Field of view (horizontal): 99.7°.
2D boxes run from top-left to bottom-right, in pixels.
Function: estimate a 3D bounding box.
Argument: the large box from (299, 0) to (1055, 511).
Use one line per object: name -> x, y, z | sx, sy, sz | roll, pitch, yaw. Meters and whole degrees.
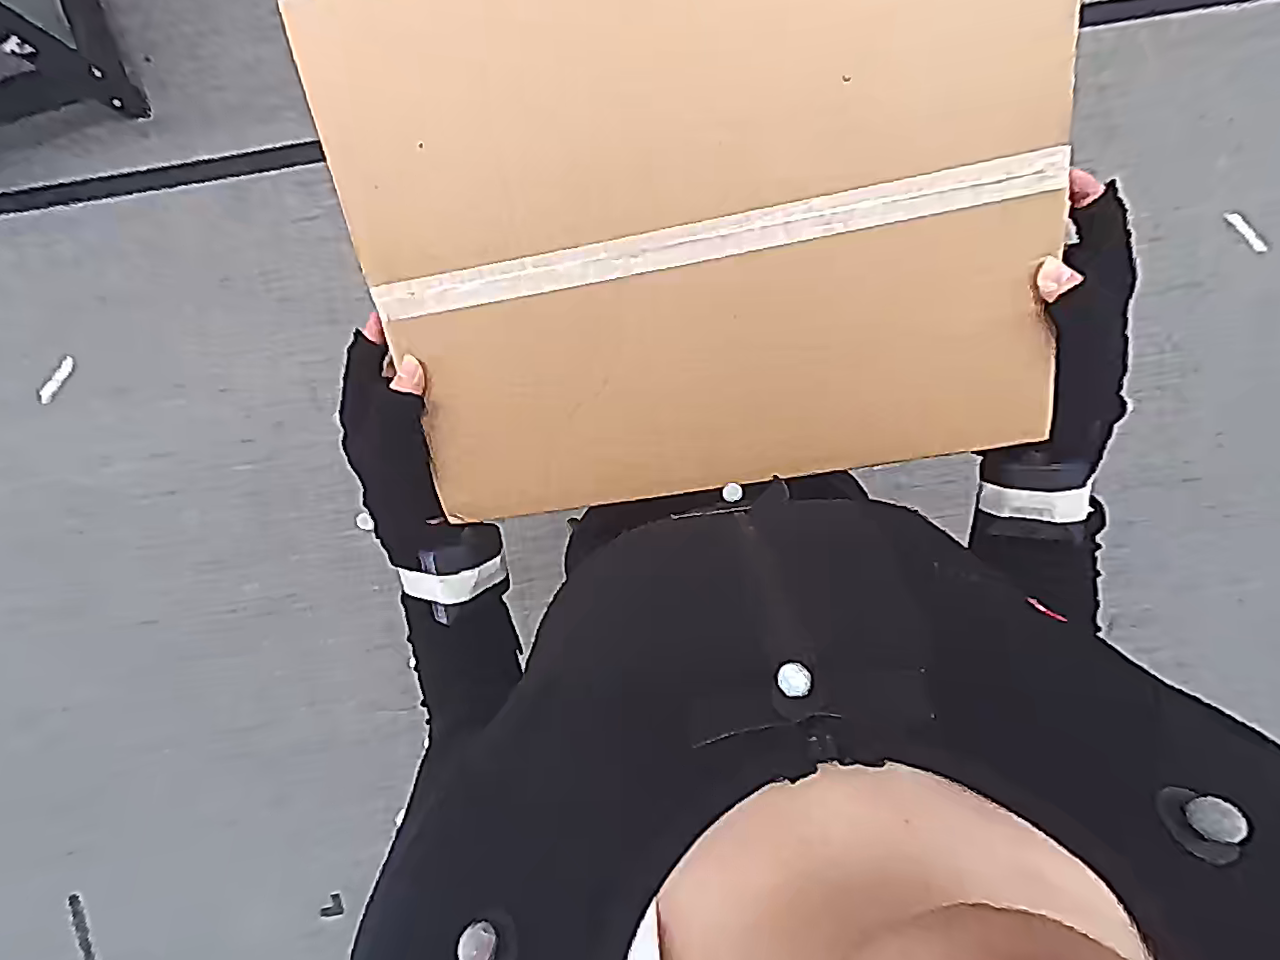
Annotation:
large box -> 0.041, -0.202, 0.463 | 0.408, 0.320, 0.320 | -9, 109, 6
